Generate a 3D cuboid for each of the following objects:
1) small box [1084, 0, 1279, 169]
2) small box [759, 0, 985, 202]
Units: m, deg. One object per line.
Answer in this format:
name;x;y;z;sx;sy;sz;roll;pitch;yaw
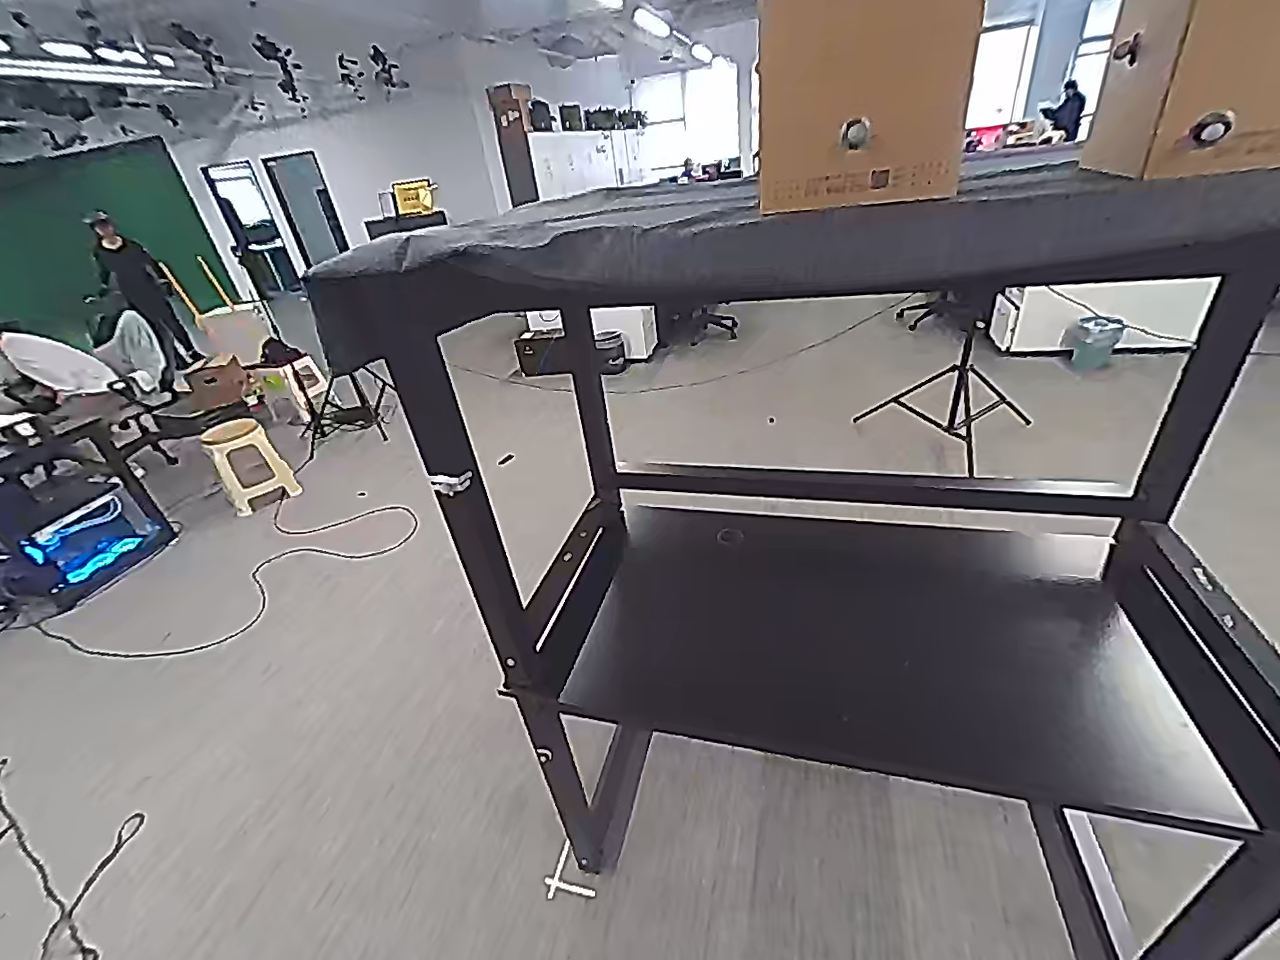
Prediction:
small box;0.492;-0.350;0.424;0.168;0.176;0.179;5;32;21
small box;0.204;-0.363;0.507;0.168;0.176;0.179;3;31;18
